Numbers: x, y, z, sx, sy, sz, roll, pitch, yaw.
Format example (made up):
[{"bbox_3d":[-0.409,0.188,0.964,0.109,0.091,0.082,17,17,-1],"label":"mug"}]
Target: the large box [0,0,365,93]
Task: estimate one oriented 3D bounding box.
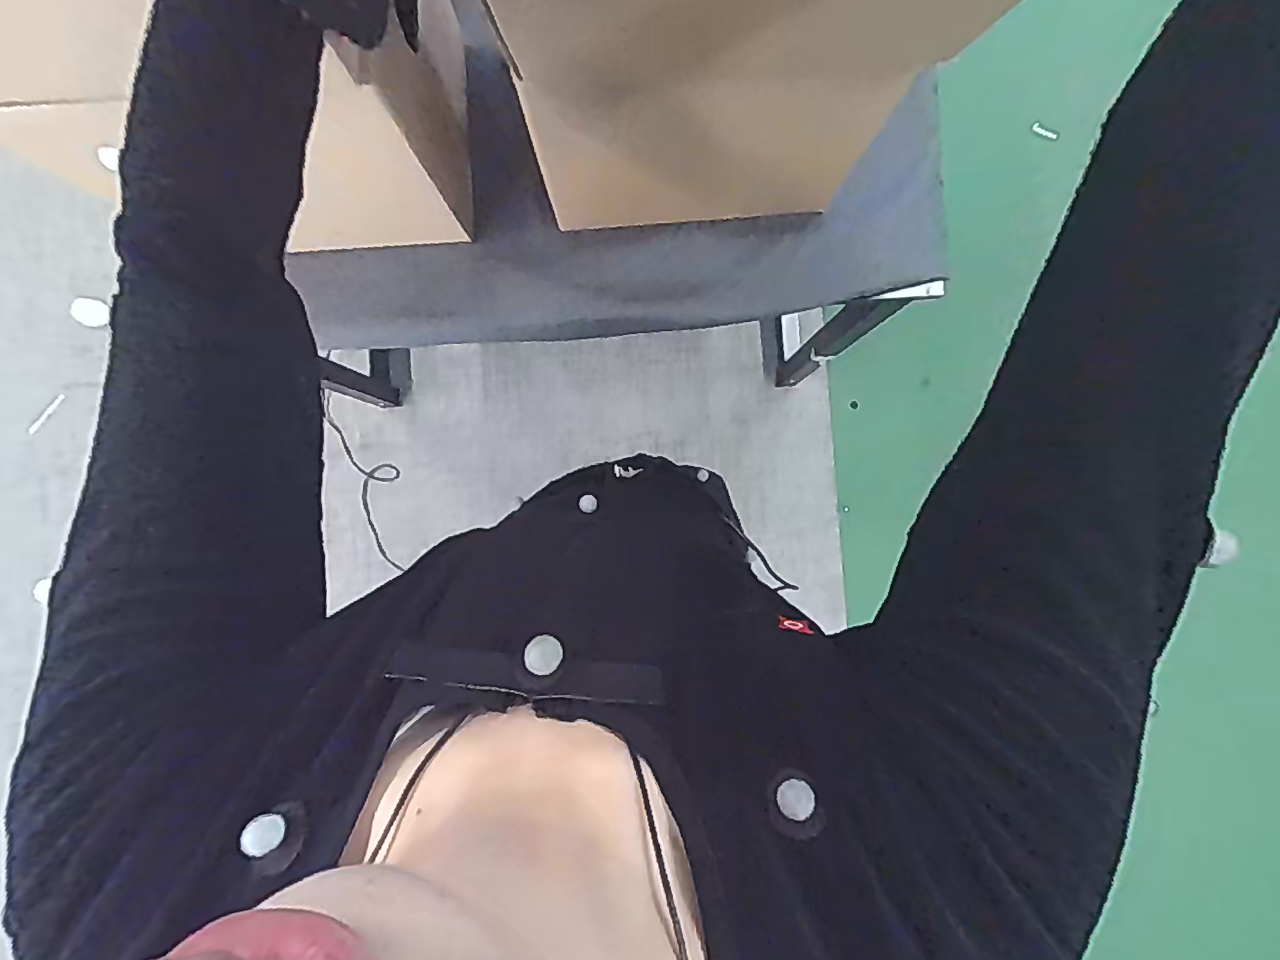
[{"bbox_3d":[-0.453,-0.511,0.348,0.408,0.320,0.320,-3,90,-2],"label":"large box"}]
